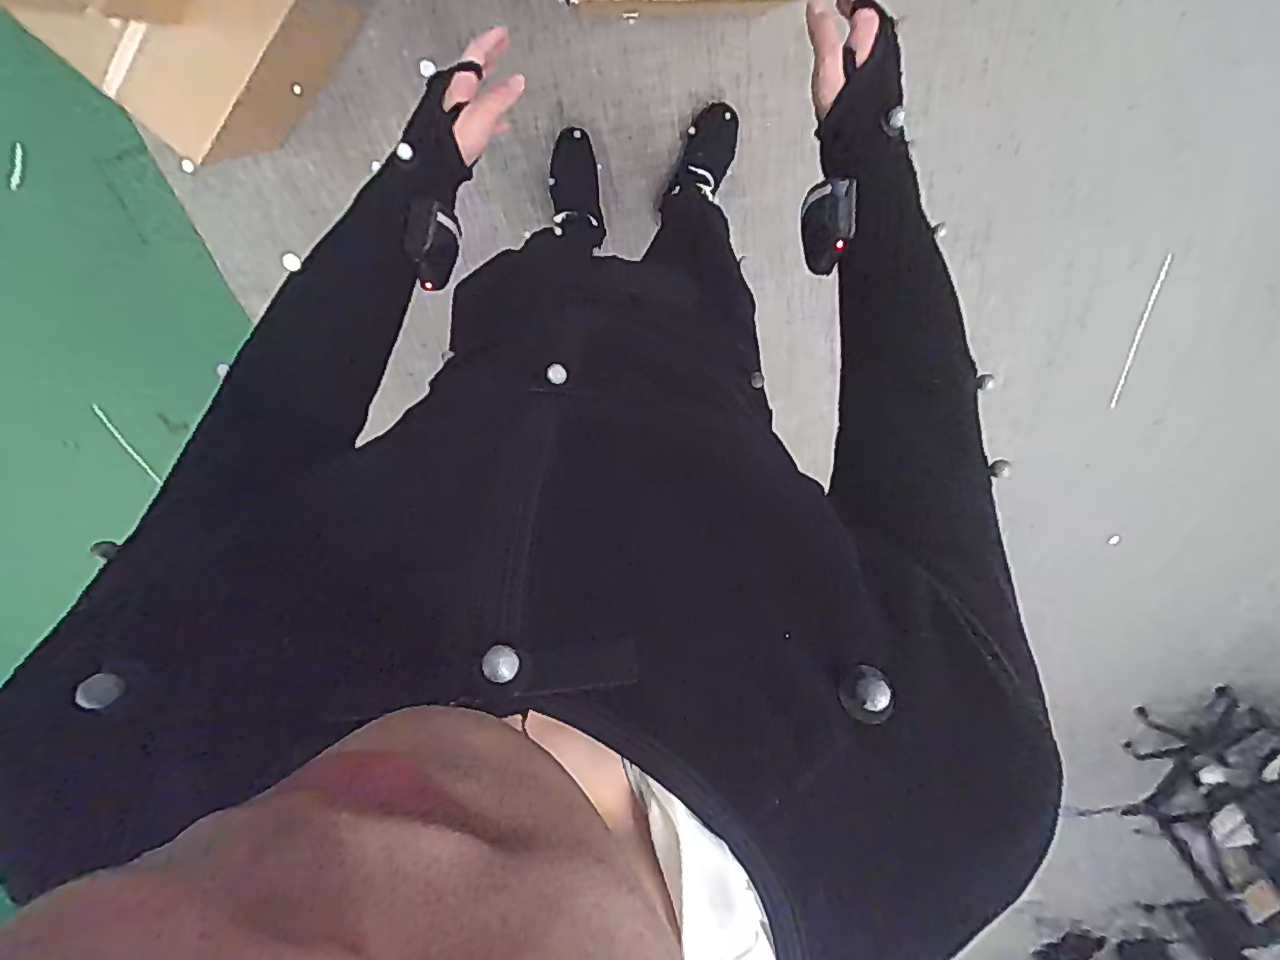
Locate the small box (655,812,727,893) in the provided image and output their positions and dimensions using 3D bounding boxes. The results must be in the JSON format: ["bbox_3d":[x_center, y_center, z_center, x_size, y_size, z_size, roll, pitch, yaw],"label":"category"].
[{"bbox_3d":[0.163,1.232,1.793,0.179,0.176,0.168,26,123,-19],"label":"small box"}]

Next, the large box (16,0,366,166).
[{"bbox_3d":[-0.808,-0.893,1.018,0.408,0.320,0.320,-35,119,24],"label":"large box"}]
